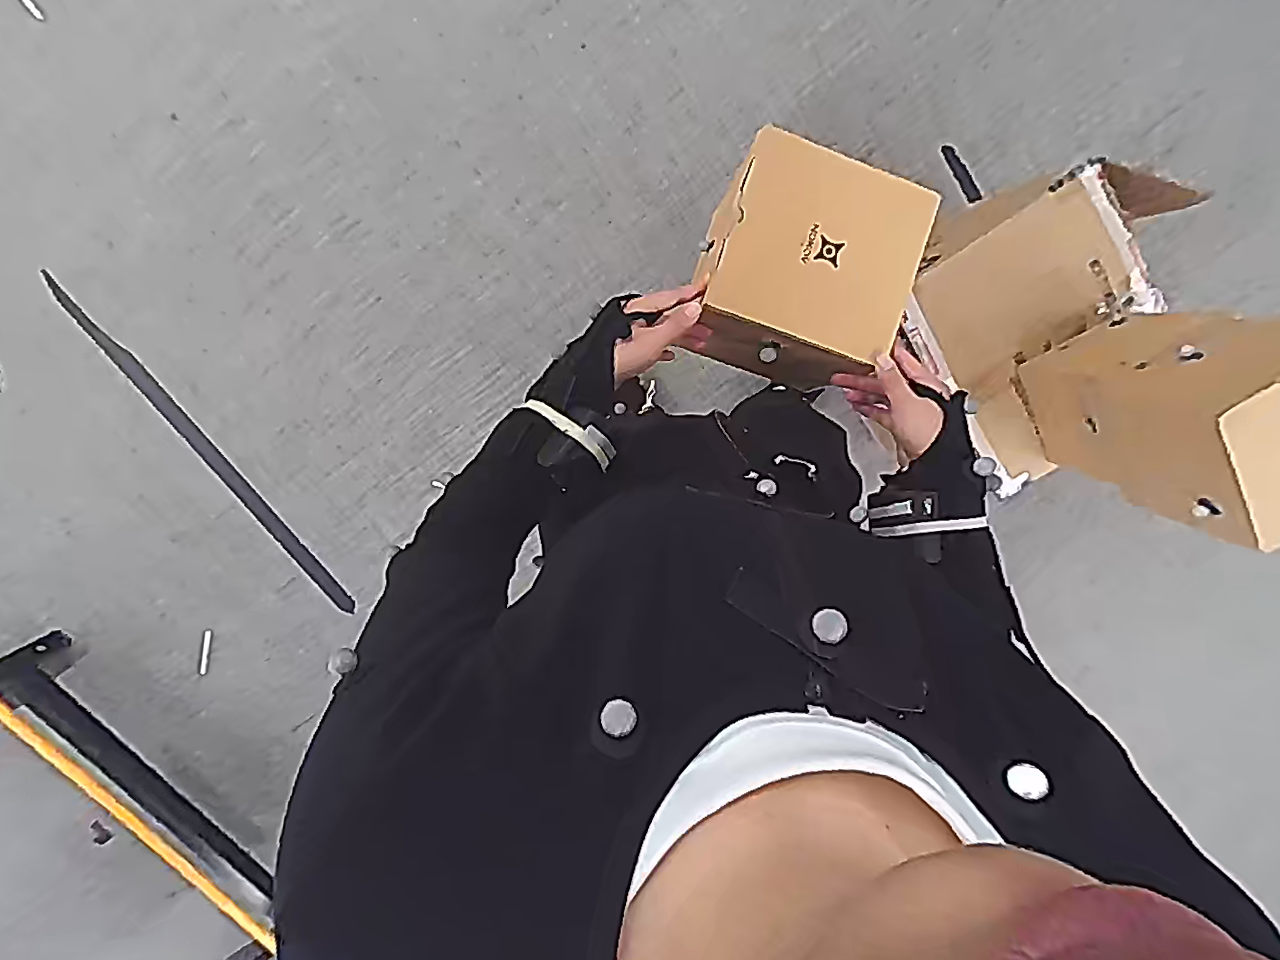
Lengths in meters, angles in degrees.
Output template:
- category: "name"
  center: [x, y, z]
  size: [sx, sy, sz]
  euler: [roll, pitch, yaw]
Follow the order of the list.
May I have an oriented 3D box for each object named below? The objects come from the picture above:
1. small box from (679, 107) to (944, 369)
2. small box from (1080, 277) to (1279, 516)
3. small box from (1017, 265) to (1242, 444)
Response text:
- category: "small box"
  center: [0.156, -0.221, 0.553]
  size: [0.179, 0.176, 0.168]
  euler: [19, 92, -6]
- category: "small box"
  center: [0.631, -0.099, 0.573]
  size: [0.168, 0.176, 0.179]
  euler: [-34, 104, 12]
- category: "small box"
  center: [0.657, -0.160, 0.726]
  size: [0.168, 0.176, 0.179]
  euler: [-31, 105, 11]
